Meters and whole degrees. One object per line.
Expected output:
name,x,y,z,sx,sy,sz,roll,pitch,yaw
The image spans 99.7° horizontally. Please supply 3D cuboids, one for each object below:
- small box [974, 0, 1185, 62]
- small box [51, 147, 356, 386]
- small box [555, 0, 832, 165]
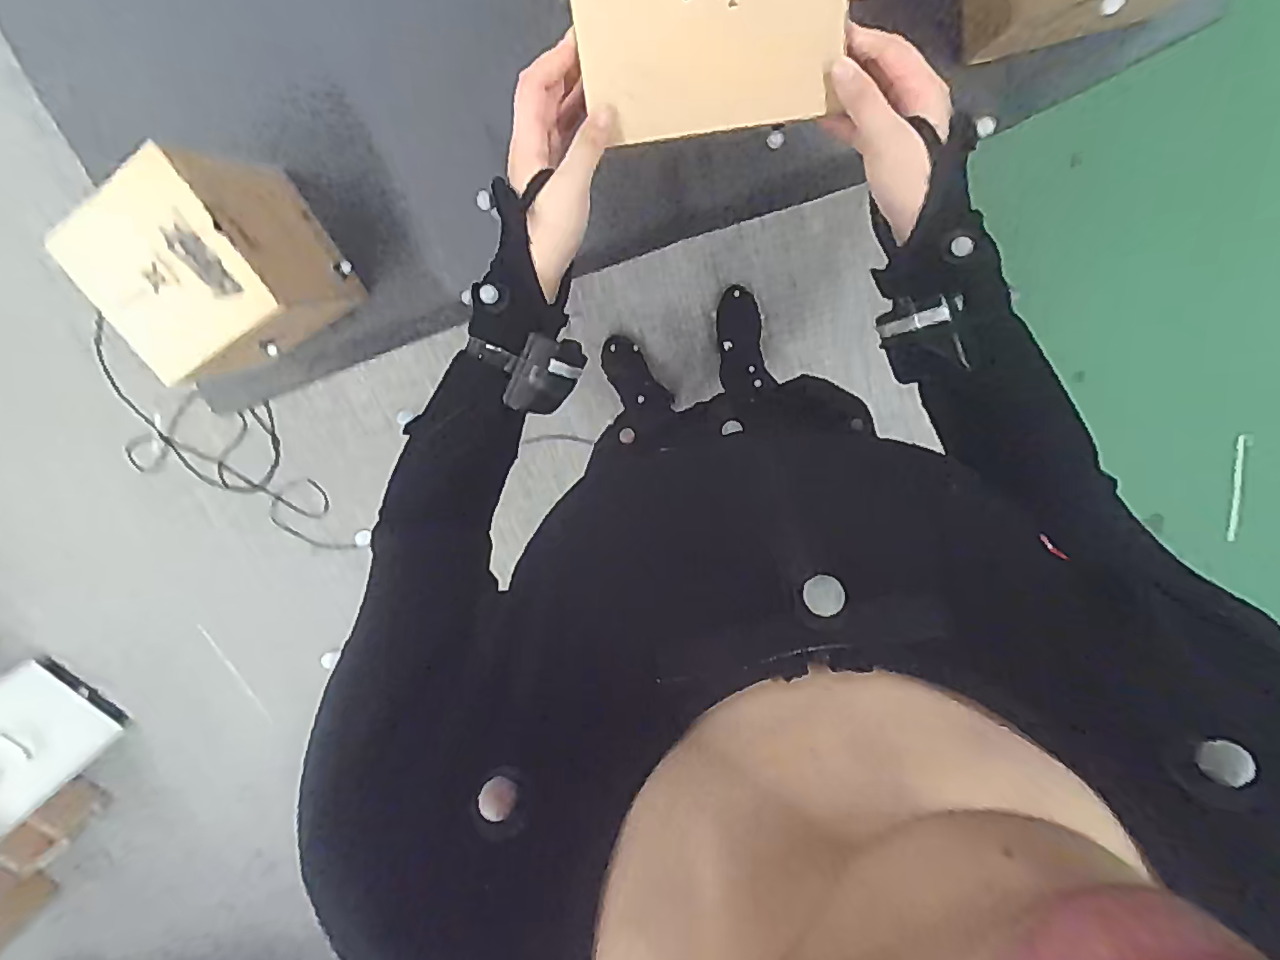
small box,0.389,-0.473,0.427,0.179,0.176,0.168,-9,107,10
small box,-0.457,-0.233,0.605,0.179,0.176,0.168,-26,109,15
small box,0.032,-0.344,0.407,0.179,0.176,0.168,-8,119,2
